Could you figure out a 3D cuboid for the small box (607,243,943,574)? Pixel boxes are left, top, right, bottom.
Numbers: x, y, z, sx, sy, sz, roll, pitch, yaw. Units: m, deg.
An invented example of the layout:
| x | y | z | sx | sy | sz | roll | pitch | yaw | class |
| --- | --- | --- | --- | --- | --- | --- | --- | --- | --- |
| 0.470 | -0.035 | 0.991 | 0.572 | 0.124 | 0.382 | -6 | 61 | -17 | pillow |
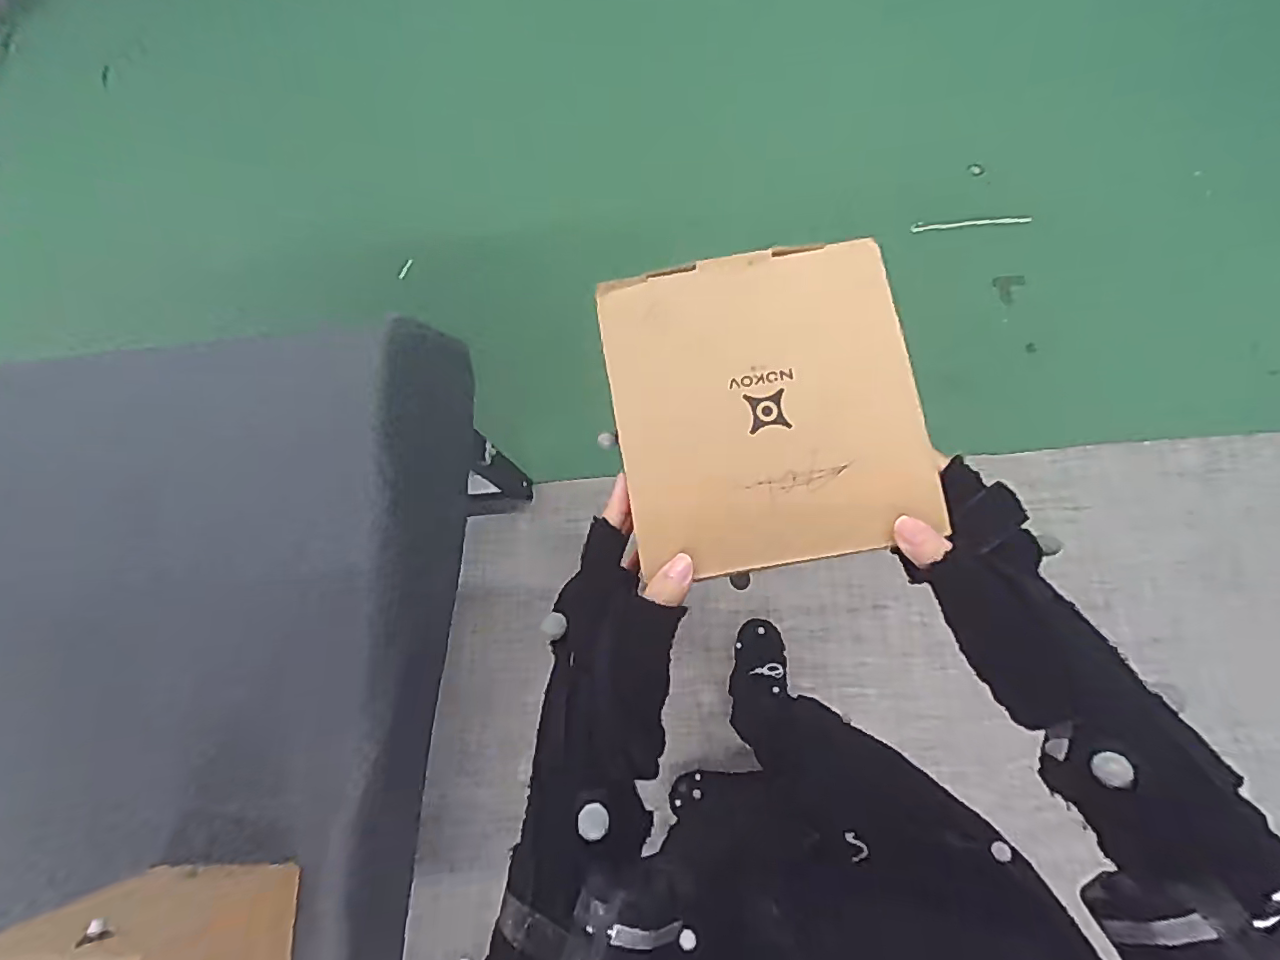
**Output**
| x | y | z | sx | sy | sz | roll | pitch | yaw | class |
| --- | --- | --- | --- | --- | --- | --- | --- | --- | --- |
| 0.072 | -0.031 | 0.380 | 0.168 | 0.176 | 0.179 | -9 | 81 | 0 | small box |
